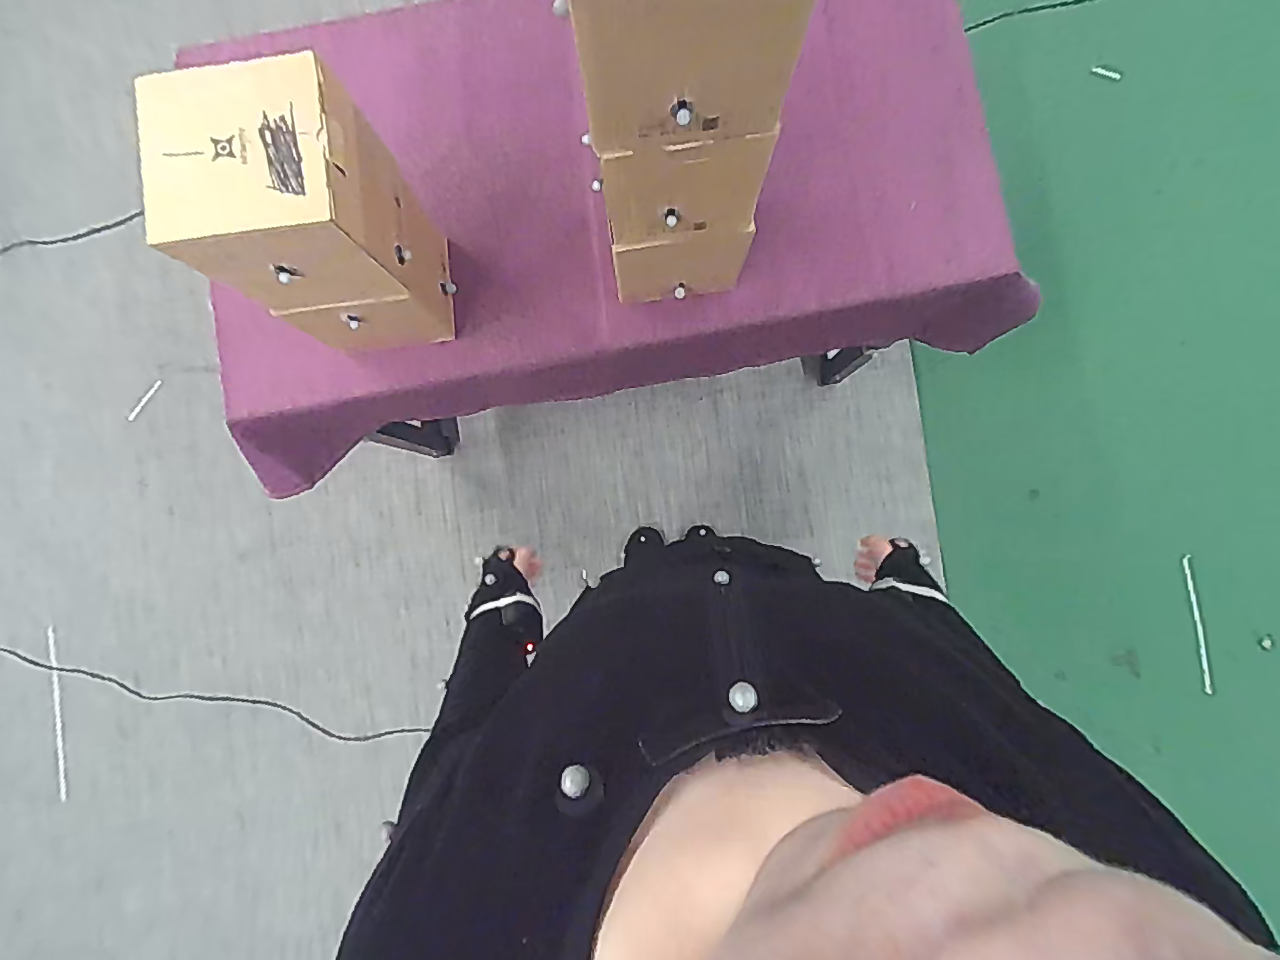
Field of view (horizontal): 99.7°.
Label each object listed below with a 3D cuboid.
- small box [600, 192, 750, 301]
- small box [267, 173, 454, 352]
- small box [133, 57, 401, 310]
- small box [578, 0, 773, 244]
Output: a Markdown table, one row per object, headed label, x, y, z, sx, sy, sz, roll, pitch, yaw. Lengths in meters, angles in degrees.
| label | x | y | z | sx | sy | sz | roll | pitch | yaw |
| --- | --- | --- | --- | --- | --- | --- | --- | --- | --- |
| small box | 0.038 | -0.362 | 0.739 | 0.179 | 0.176 | 0.168 | -8 | 86 | 0 |
| small box | -0.376 | -0.284 | 0.742 | 0.179 | 0.176 | 0.168 | -7 | 87 | 0 |
| small box | -0.375 | -0.298 | 0.579 | 0.179 | 0.176 | 0.168 | -8 | 87 | 1 |
| small box | 0.031 | -0.384 | 0.577 | 0.168 | 0.176 | 0.179 | -8 | 87 | 1 |
